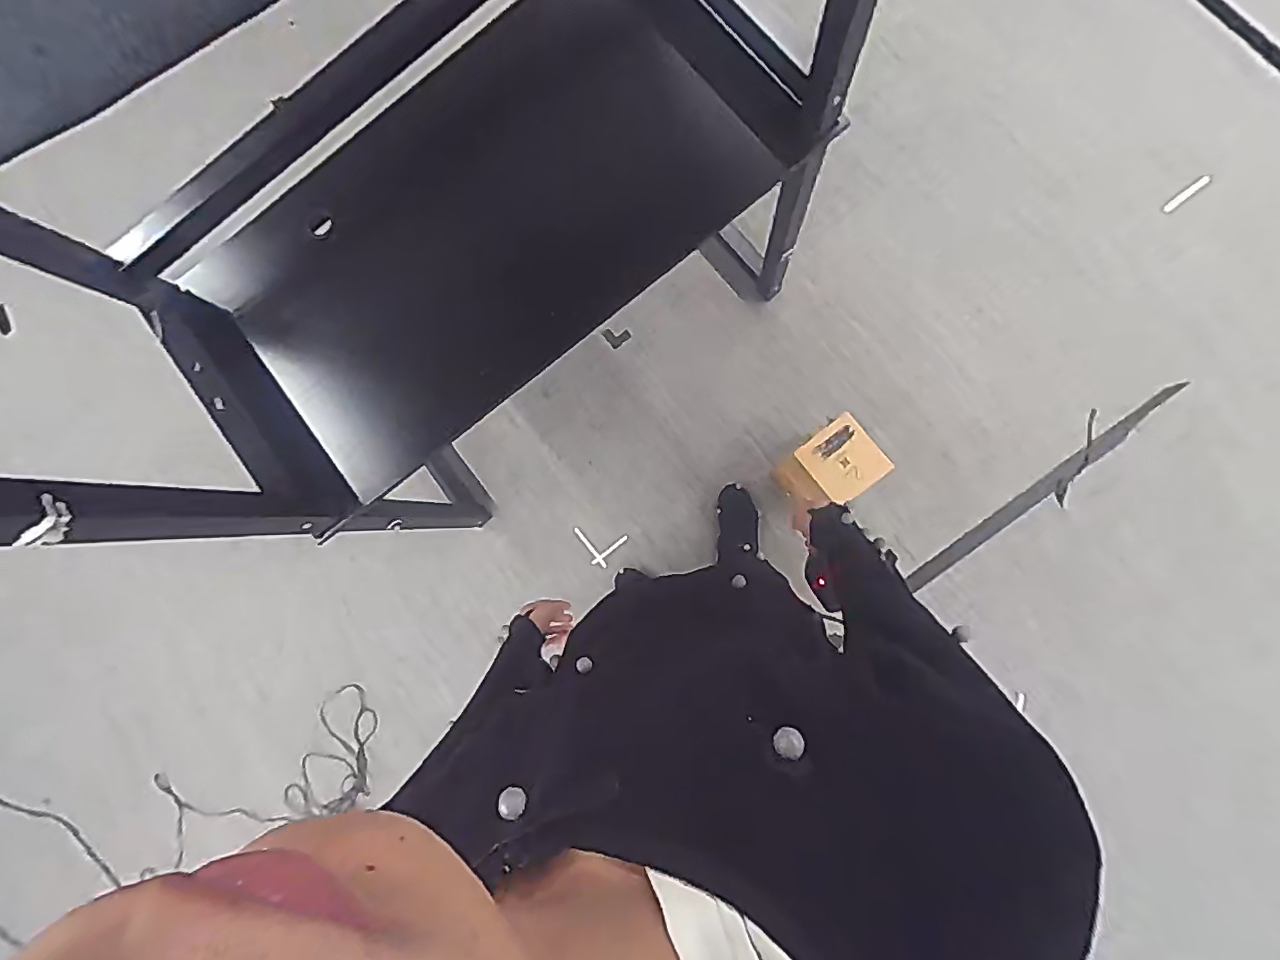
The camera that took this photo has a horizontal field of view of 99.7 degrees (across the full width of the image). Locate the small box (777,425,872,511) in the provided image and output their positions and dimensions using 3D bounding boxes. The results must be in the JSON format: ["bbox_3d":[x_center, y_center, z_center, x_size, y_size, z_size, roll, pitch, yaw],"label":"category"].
[{"bbox_3d":[0.506,-0.030,1.517,0.179,0.176,0.168,-40,82,3],"label":"small box"}]
